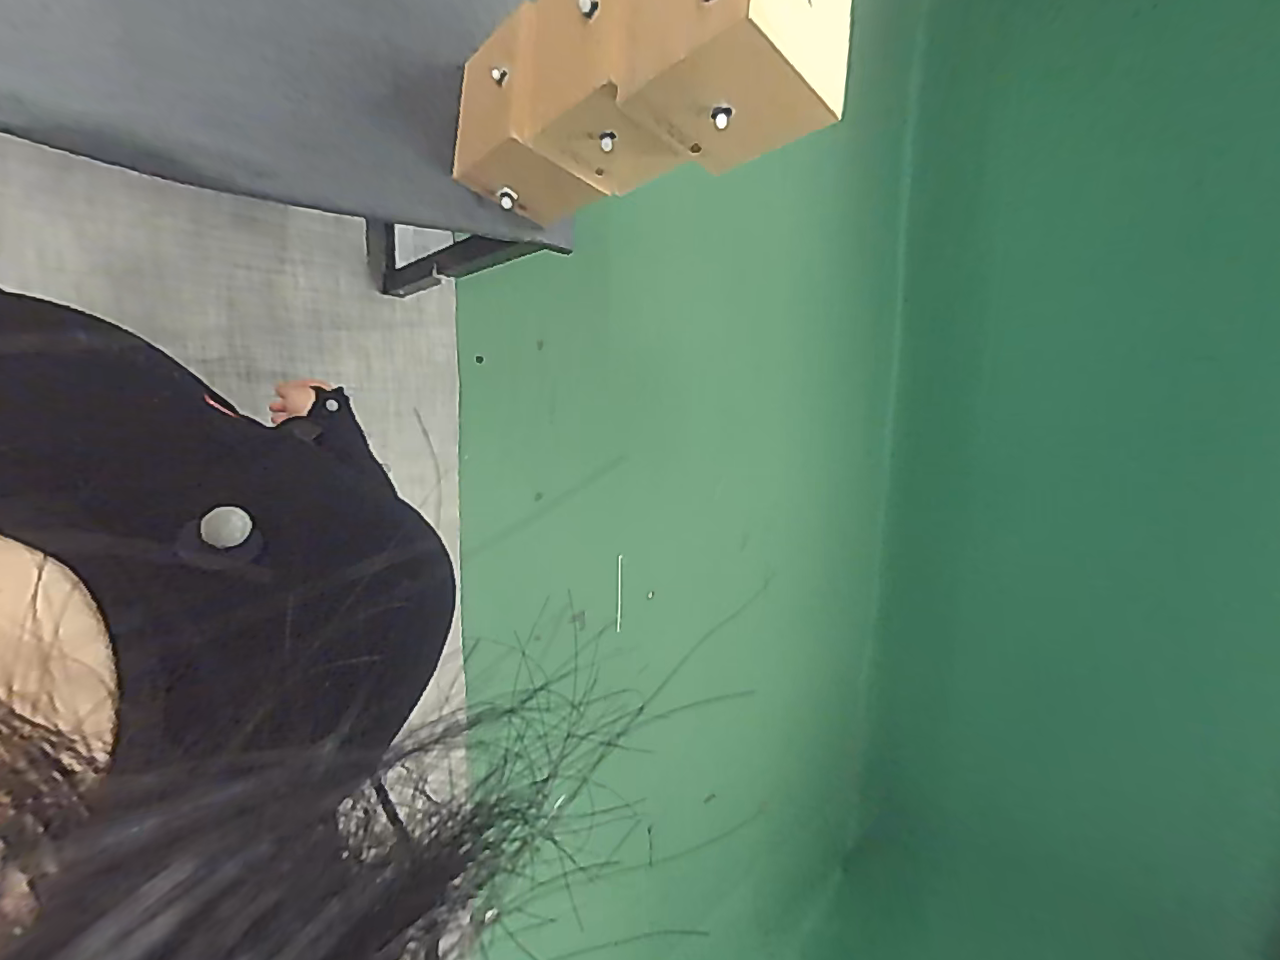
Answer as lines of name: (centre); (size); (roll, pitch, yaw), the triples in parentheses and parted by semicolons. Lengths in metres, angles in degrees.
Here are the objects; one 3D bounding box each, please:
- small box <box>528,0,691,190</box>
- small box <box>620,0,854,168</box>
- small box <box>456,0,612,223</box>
small box: (-0.022, -0.492, 0.663); (0.168, 0.176, 0.179); (4, 89, -44)
small box: (0.096, -0.459, 0.550); (0.168, 0.176, 0.179); (6, 89, -44)
small box: (-0.145, -0.502, 0.769); (0.168, 0.176, 0.179); (7, 89, -43)
